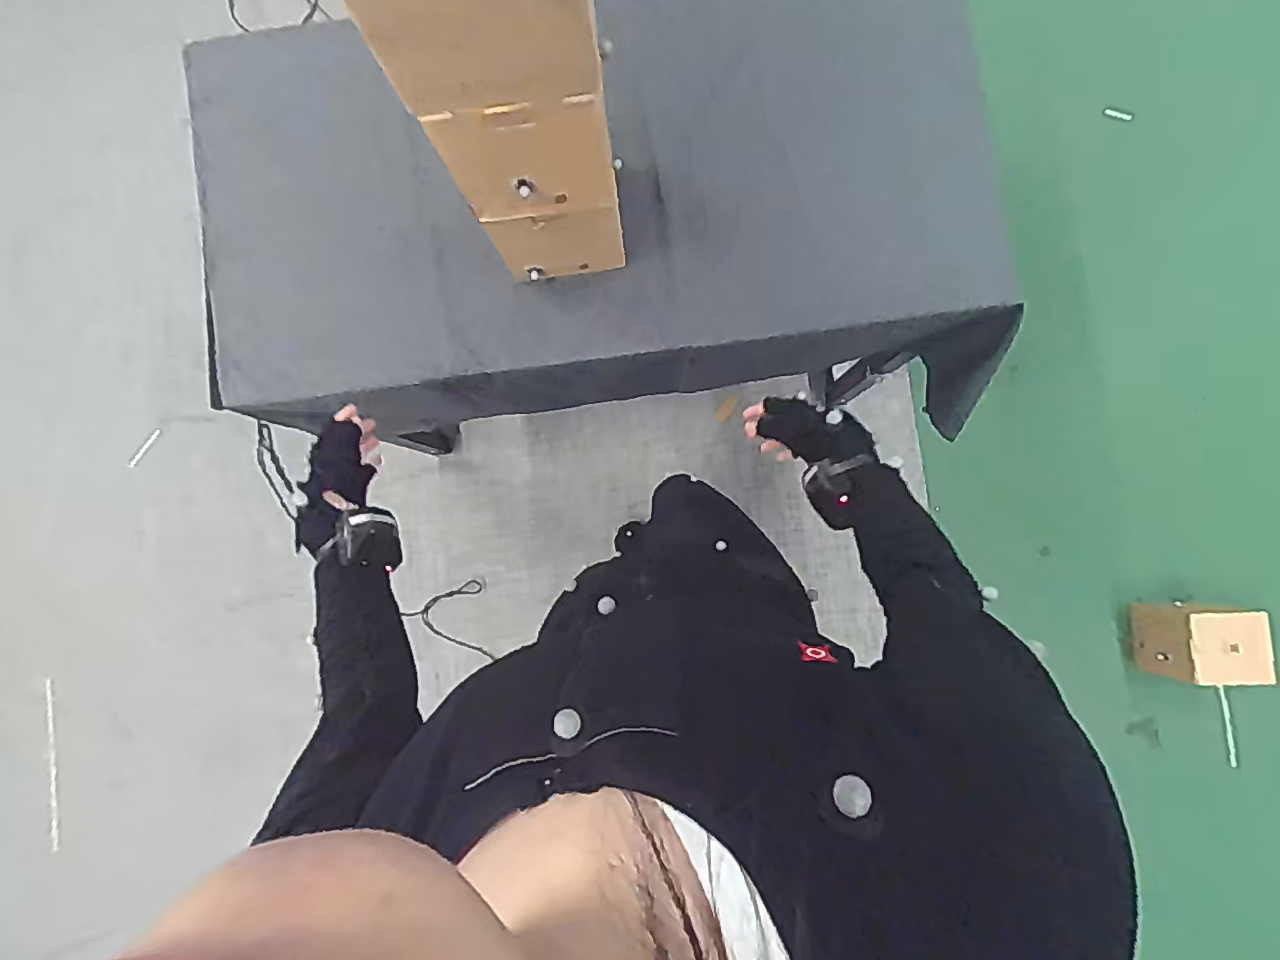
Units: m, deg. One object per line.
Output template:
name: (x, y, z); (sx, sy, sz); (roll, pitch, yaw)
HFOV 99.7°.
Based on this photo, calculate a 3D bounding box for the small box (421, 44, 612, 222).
small box: (-0.126, -0.412, 0.580); (0.168, 0.176, 0.179); (-7, 85, 2)

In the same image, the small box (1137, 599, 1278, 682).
small box: (1.369, 0.387, 1.321); (0.179, 0.176, 0.168); (-2, 85, 3)

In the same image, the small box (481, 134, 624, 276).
small box: (-0.117, -0.399, 0.741); (0.168, 0.176, 0.179); (-8, 84, 2)

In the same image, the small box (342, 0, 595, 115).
small box: (-0.131, -0.423, 0.416); (0.179, 0.176, 0.168); (-6, 85, 2)
